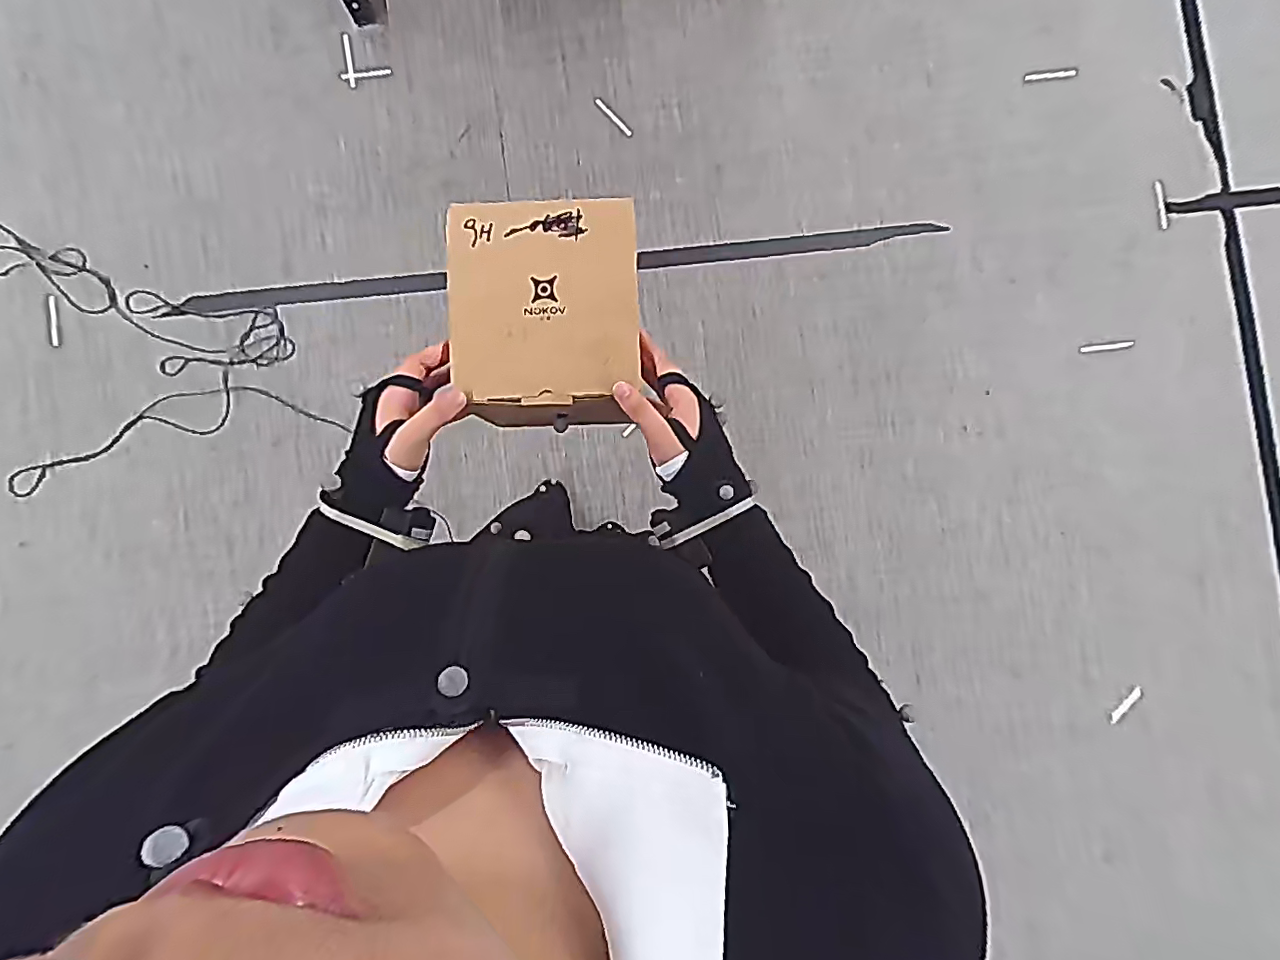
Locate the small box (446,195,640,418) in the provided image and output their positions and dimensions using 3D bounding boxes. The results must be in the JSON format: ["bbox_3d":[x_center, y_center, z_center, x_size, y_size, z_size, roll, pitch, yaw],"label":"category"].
[{"bbox_3d":[-0.084,-0.158,0.549,0.168,0.176,0.179,-2,89,0],"label":"small box"}]
